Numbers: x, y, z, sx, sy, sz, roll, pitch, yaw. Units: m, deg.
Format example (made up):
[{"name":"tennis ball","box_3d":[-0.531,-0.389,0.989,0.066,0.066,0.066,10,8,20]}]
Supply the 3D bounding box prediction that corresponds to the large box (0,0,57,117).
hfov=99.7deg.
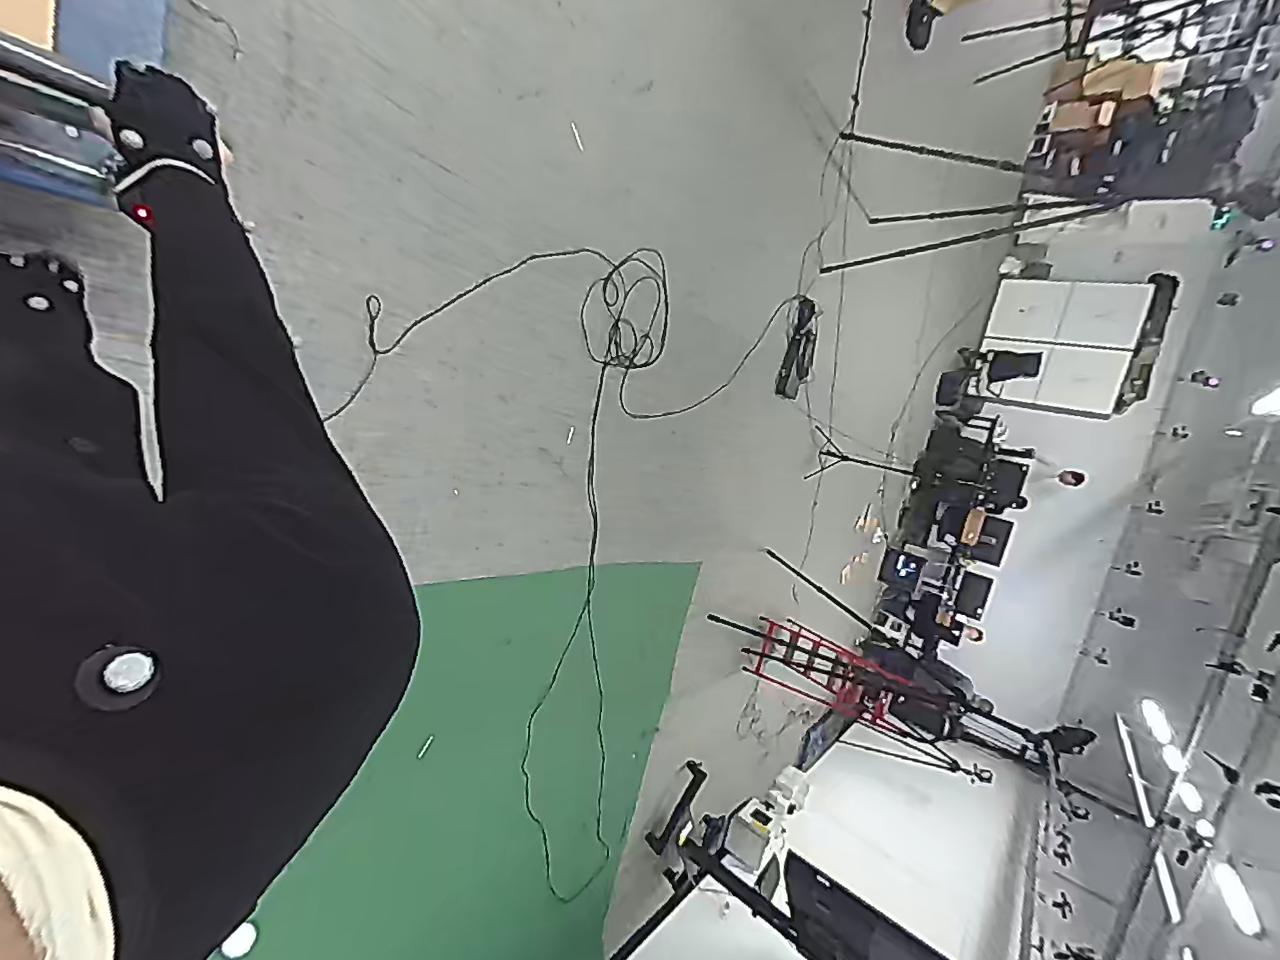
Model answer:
[{"name":"large box","box_3d":[-0.958,-0.757,0.665,0.320,0.320,0.408,1,102,-52]}]
